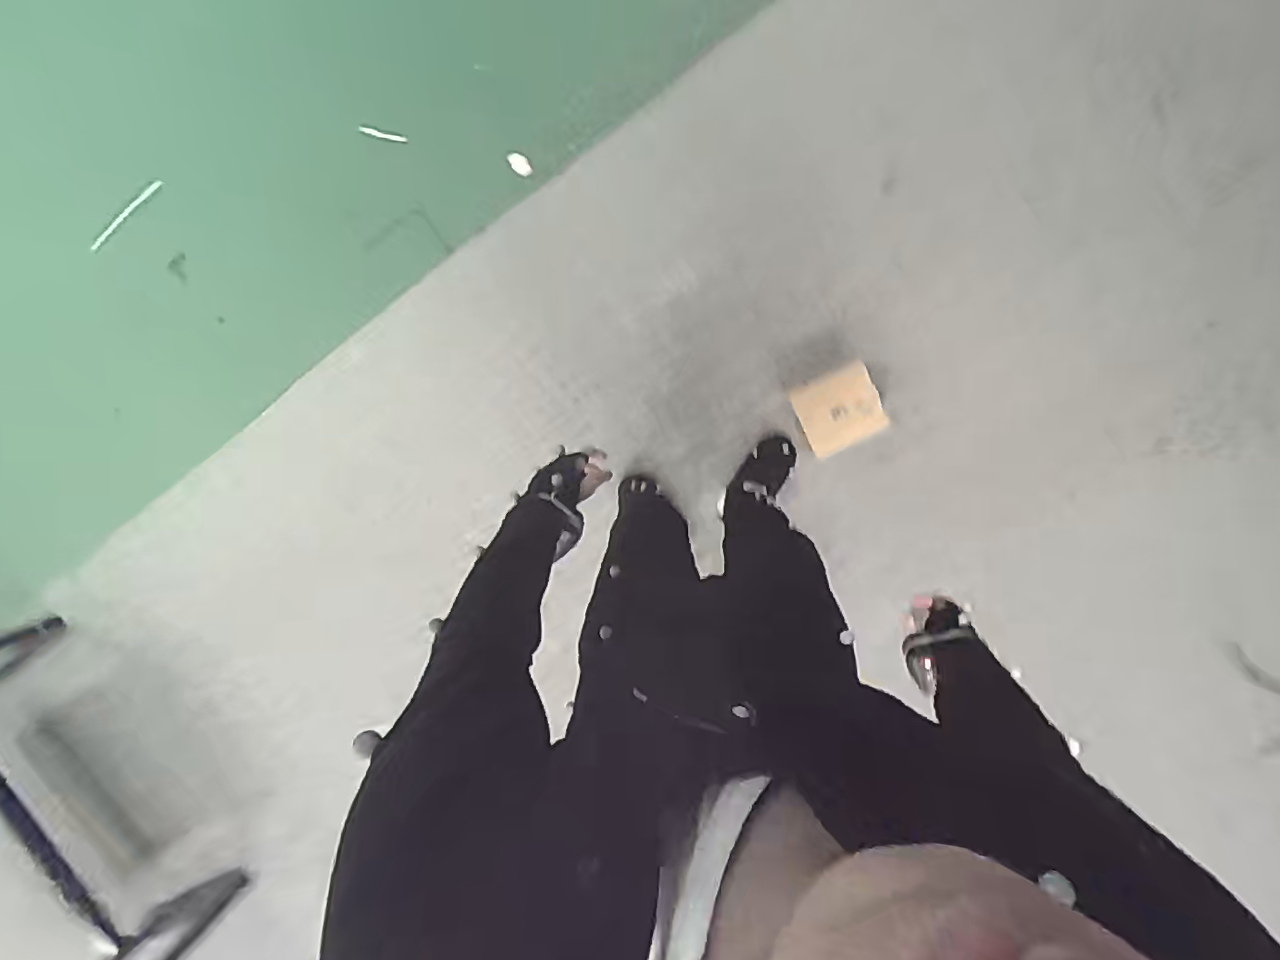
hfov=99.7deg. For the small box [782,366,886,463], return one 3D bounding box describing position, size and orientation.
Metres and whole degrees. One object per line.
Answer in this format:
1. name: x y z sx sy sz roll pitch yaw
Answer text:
1. small box: 0.447 -0.156 1.281 0.179 0.176 0.168 -24 96 12
